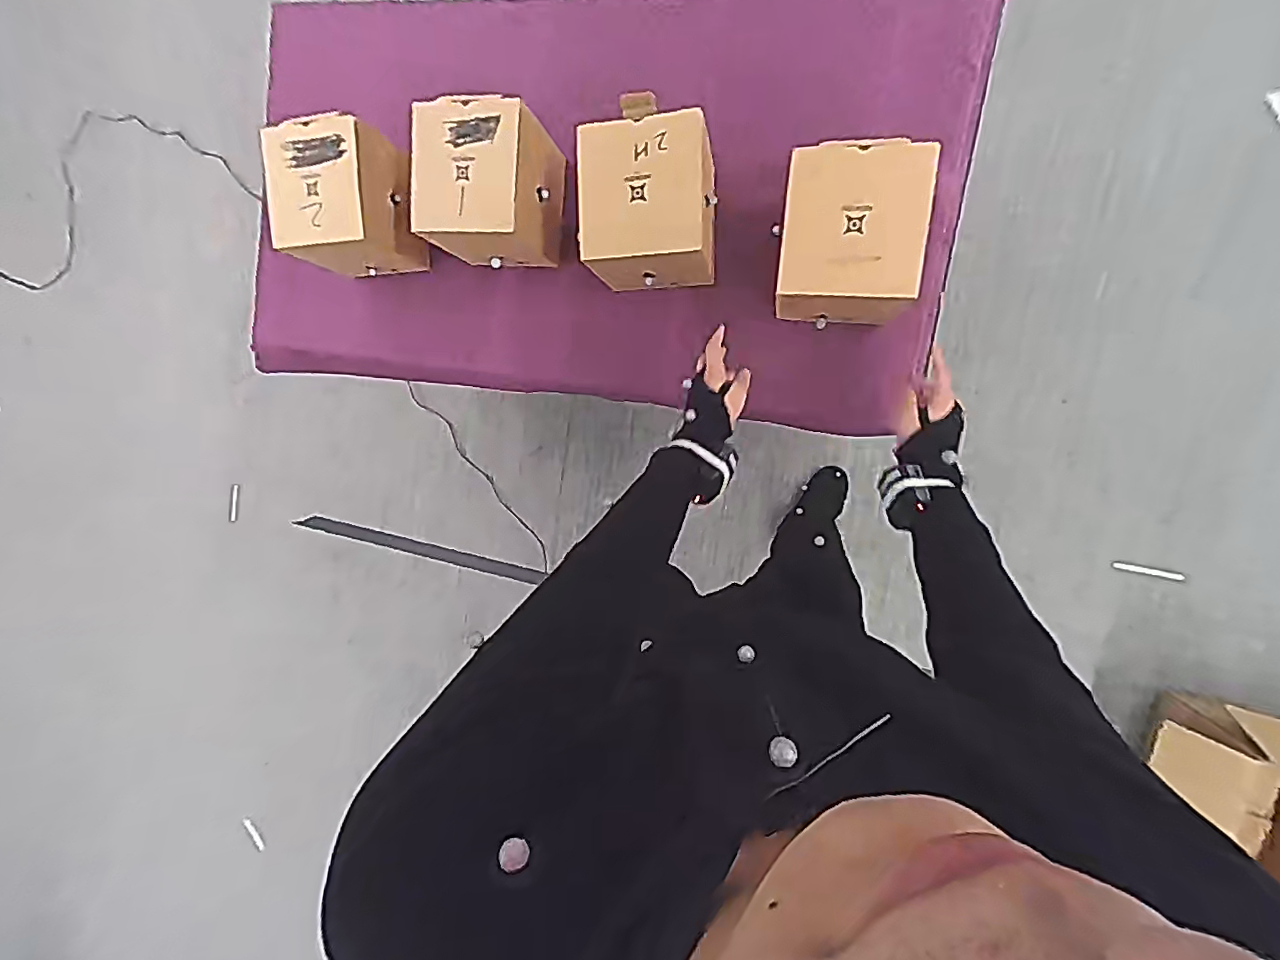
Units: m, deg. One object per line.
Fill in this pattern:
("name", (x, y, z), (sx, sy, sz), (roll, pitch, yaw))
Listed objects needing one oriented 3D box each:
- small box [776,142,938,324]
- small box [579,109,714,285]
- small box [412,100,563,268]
("small box", (0.276, -0.320, 0.727), (0.168, 0.176, 0.179), (7, 96, 13))
("small box", (0.018, -0.388, 0.780), (0.168, 0.176, 0.179), (1, 95, 13))
("small box", (-0.225, -0.444, 0.832), (0.168, 0.176, 0.179), (6, 97, 13))
